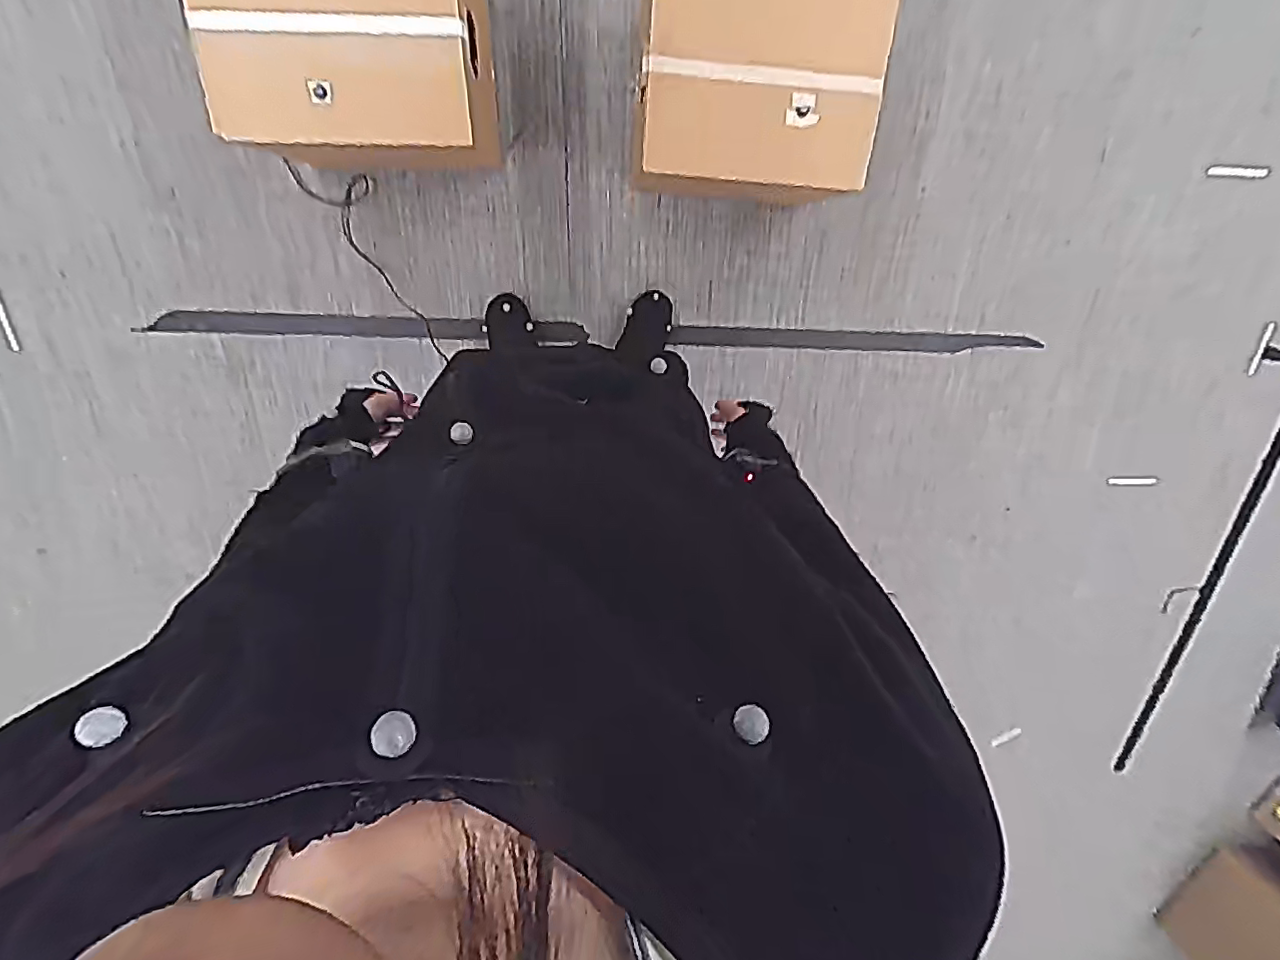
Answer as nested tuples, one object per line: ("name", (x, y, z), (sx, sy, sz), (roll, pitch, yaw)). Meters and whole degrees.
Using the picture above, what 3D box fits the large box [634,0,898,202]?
("large box", (0.203, -0.735, 1.044), (0.408, 0.320, 0.320), (2, 113, -6))
